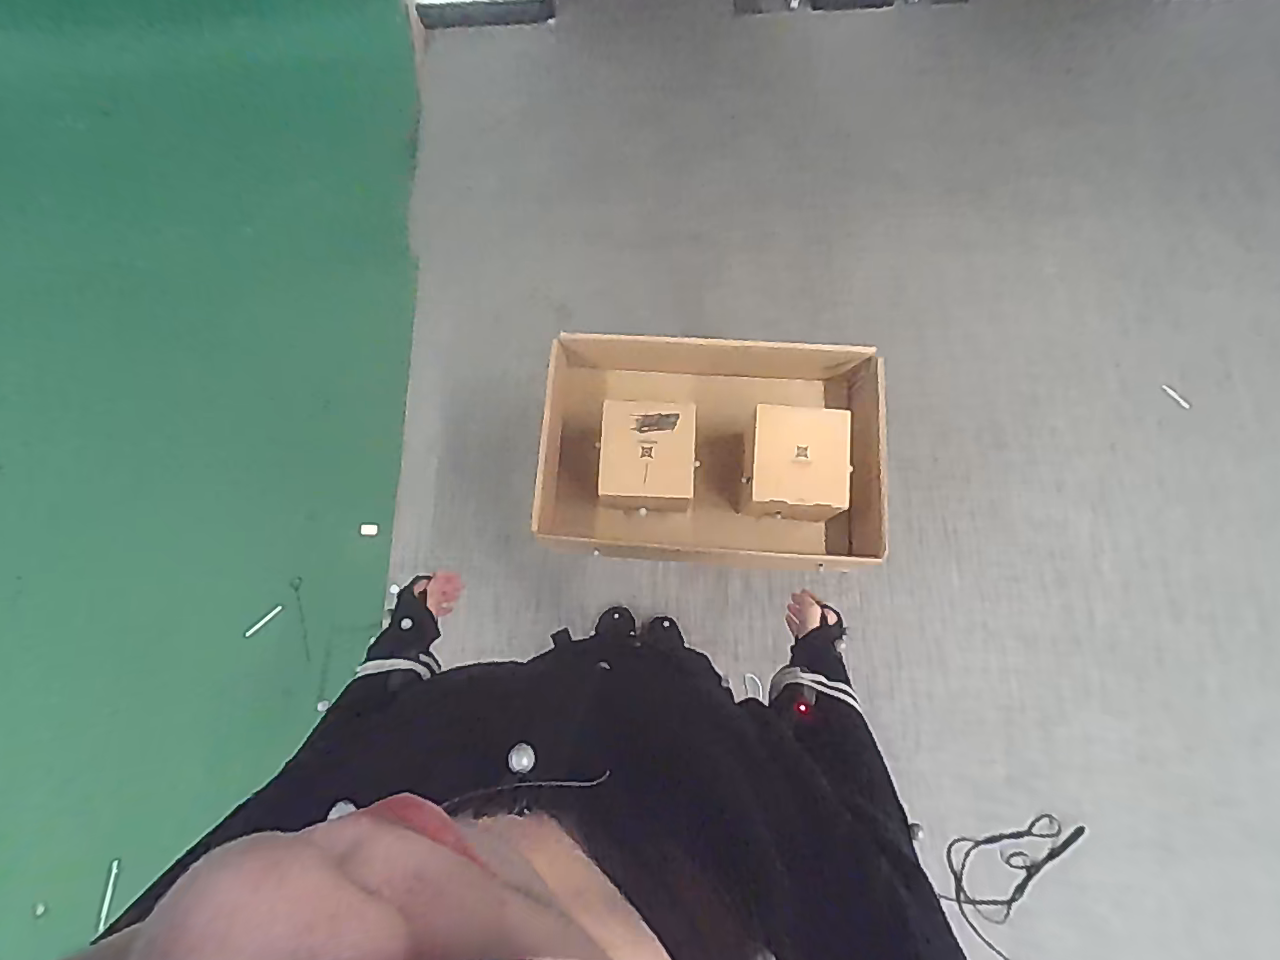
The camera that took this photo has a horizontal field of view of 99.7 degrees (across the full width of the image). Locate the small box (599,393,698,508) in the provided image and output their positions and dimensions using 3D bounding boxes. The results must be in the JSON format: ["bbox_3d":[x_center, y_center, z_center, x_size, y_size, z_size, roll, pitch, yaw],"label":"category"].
[{"bbox_3d":[0.017,-0.050,1.016,0.168,0.176,0.179,3,80,3],"label":"small box"}]
